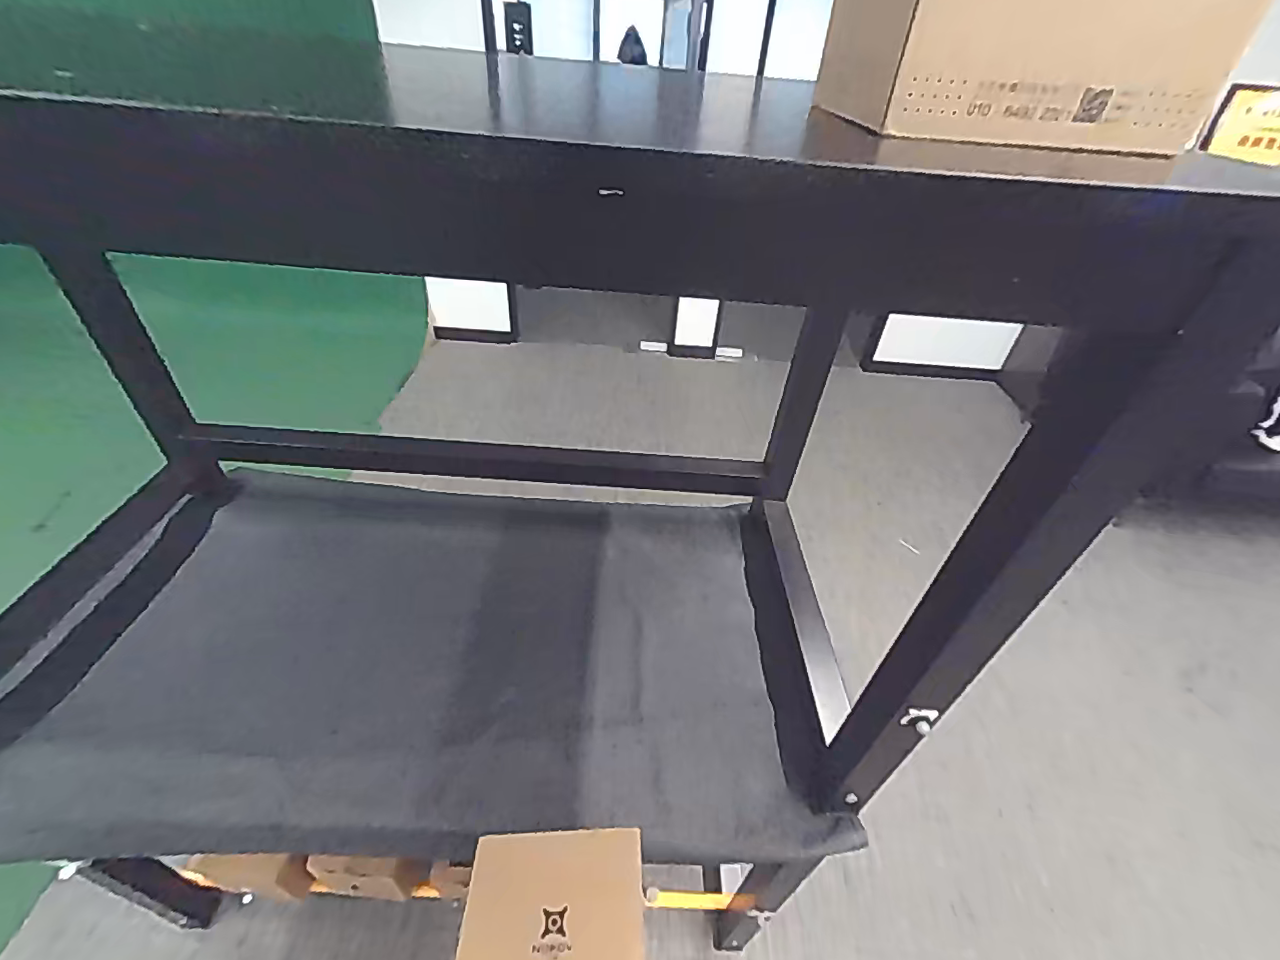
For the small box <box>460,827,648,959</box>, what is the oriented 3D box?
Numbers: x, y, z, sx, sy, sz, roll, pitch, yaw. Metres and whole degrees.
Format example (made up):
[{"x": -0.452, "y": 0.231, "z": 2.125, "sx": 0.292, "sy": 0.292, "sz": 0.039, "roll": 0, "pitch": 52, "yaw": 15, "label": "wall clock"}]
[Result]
[{"x": -0.076, "y": 0.476, "z": 0.527, "sx": 0.168, "sy": 0.176, "sz": 0.179, "roll": -2, "pitch": 31, "yaw": -2, "label": "small box"}]
